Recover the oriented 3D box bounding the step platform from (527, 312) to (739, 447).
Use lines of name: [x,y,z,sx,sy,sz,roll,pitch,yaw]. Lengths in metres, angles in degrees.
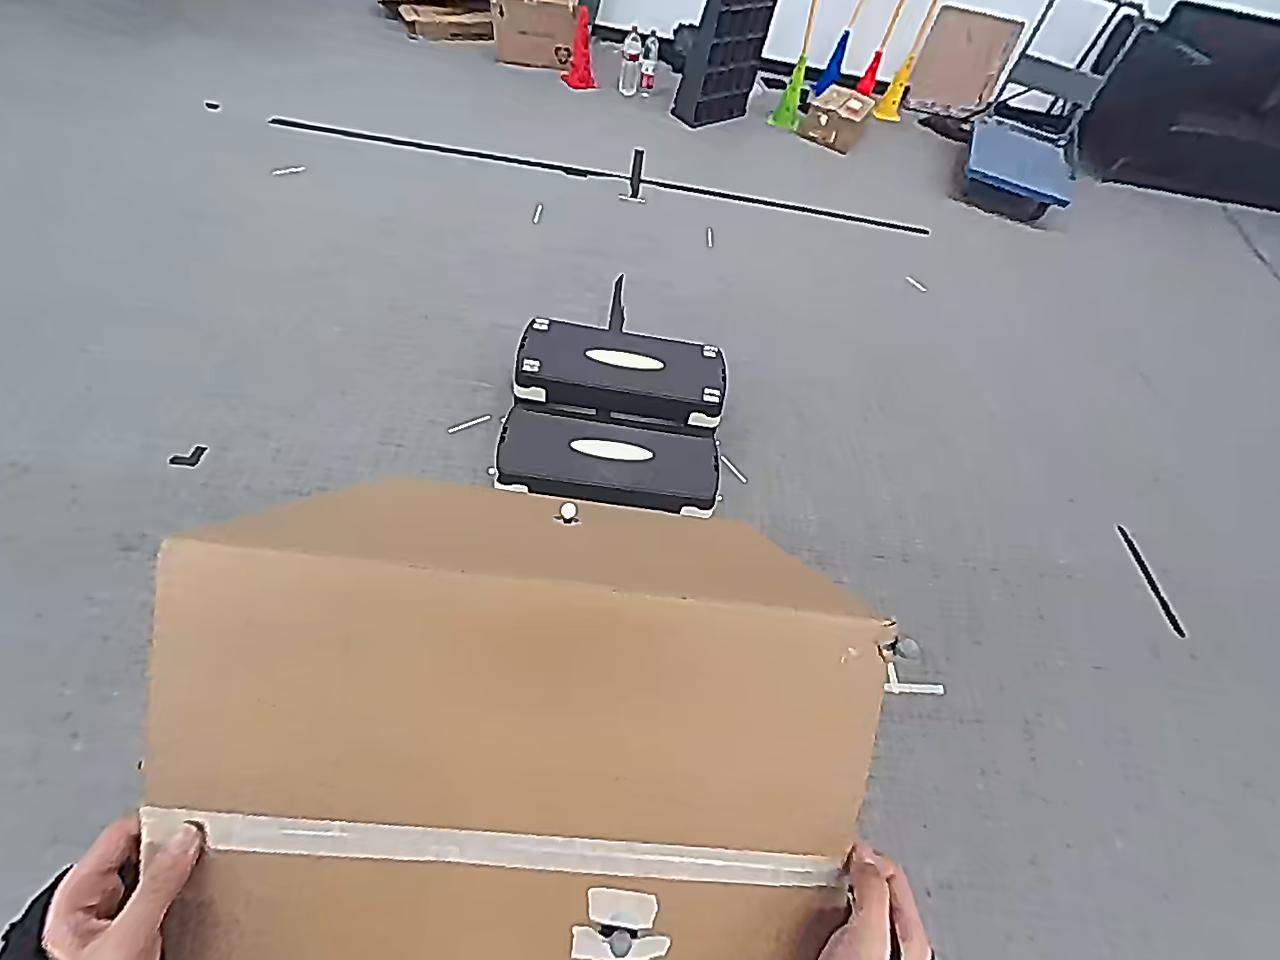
step platform: [-0.020,-0.333,1.785,0.684,0.204,0.286,13,54,-2]
